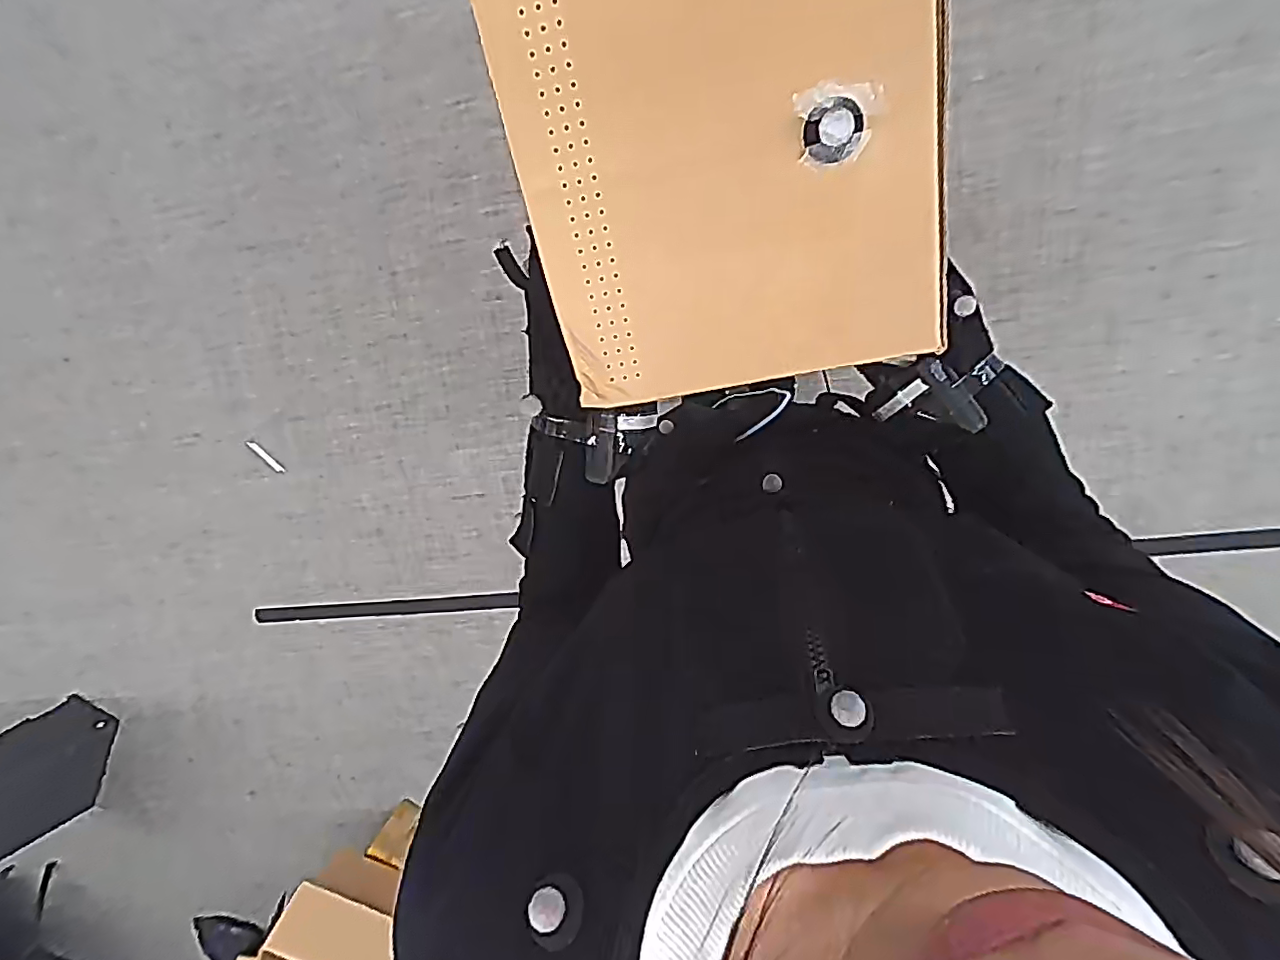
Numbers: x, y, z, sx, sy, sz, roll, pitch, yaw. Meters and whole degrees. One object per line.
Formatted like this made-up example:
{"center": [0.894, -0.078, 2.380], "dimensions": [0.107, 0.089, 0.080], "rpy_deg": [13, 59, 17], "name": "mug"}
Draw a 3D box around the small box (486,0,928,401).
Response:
{"center": [0.038, -0.160, 0.298], "dimensions": [0.176, 0.168, 0.179], "rpy_deg": [-8, 114, 12], "name": "small box"}
